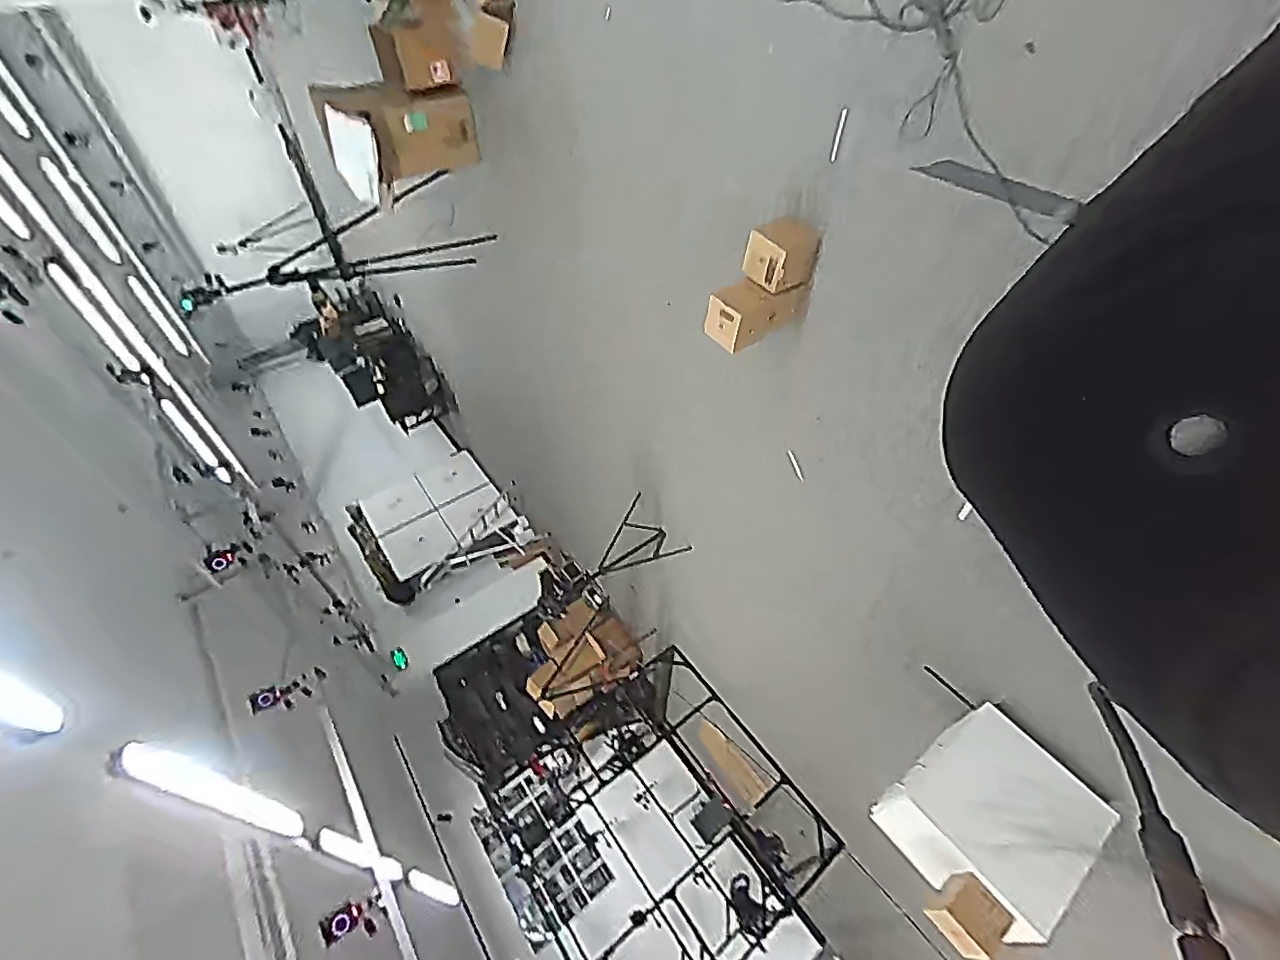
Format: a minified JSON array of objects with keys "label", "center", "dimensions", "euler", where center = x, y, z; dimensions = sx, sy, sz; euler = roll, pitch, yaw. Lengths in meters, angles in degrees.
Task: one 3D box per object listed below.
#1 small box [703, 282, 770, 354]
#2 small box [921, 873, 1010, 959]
[{"label":"small box","center":[0.362,-0.611,2.019],"dimensions":[0.168,0.176,0.179],"euler":[48,154,27]},{"label":"small box","center":[1.101,1.471,1.828],"dimensions":[0.168,0.176,0.179],"euler":[45,152,29]}]
